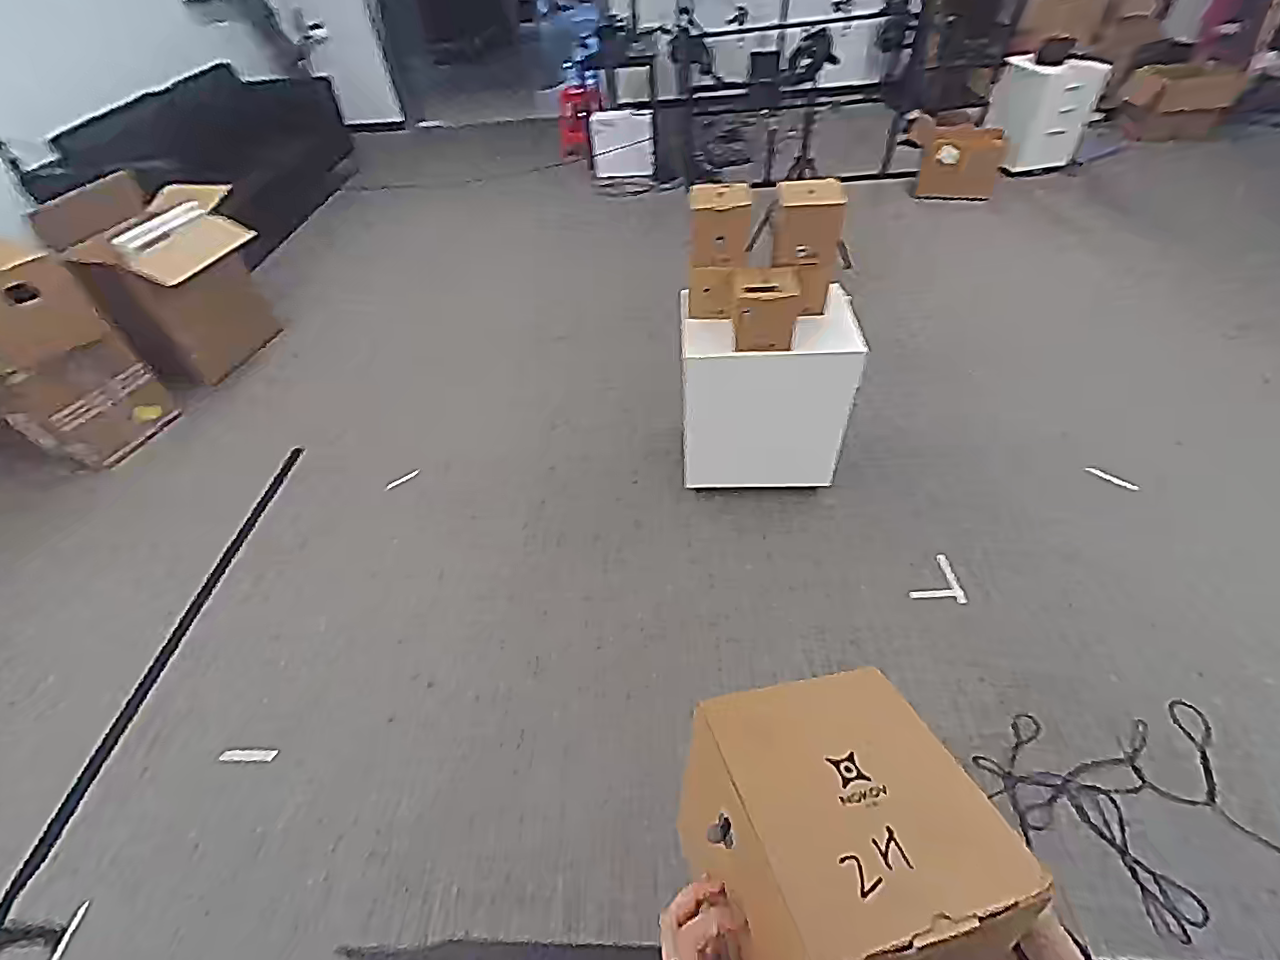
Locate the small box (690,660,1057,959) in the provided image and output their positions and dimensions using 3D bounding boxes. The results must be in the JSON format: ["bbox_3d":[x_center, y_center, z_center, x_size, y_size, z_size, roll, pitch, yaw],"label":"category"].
[{"bbox_3d":[0.146,0.271,0.412,0.168,0.176,0.179,-4,30,-15],"label":"small box"}]

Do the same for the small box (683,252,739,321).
[{"bbox_3d":[0.221,-0.609,1.675,0.168,0.176,0.179,2,47,6],"label":"small box"}]

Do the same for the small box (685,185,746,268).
[{"bbox_3d":[0.218,-0.726,1.558,0.168,0.176,0.179,1,47,7],"label":"small box"}]

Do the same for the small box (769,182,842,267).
[{"bbox_3d":[0.462,-0.724,1.534,0.168,0.176,0.179,0,48,7],"label":"small box"}]
